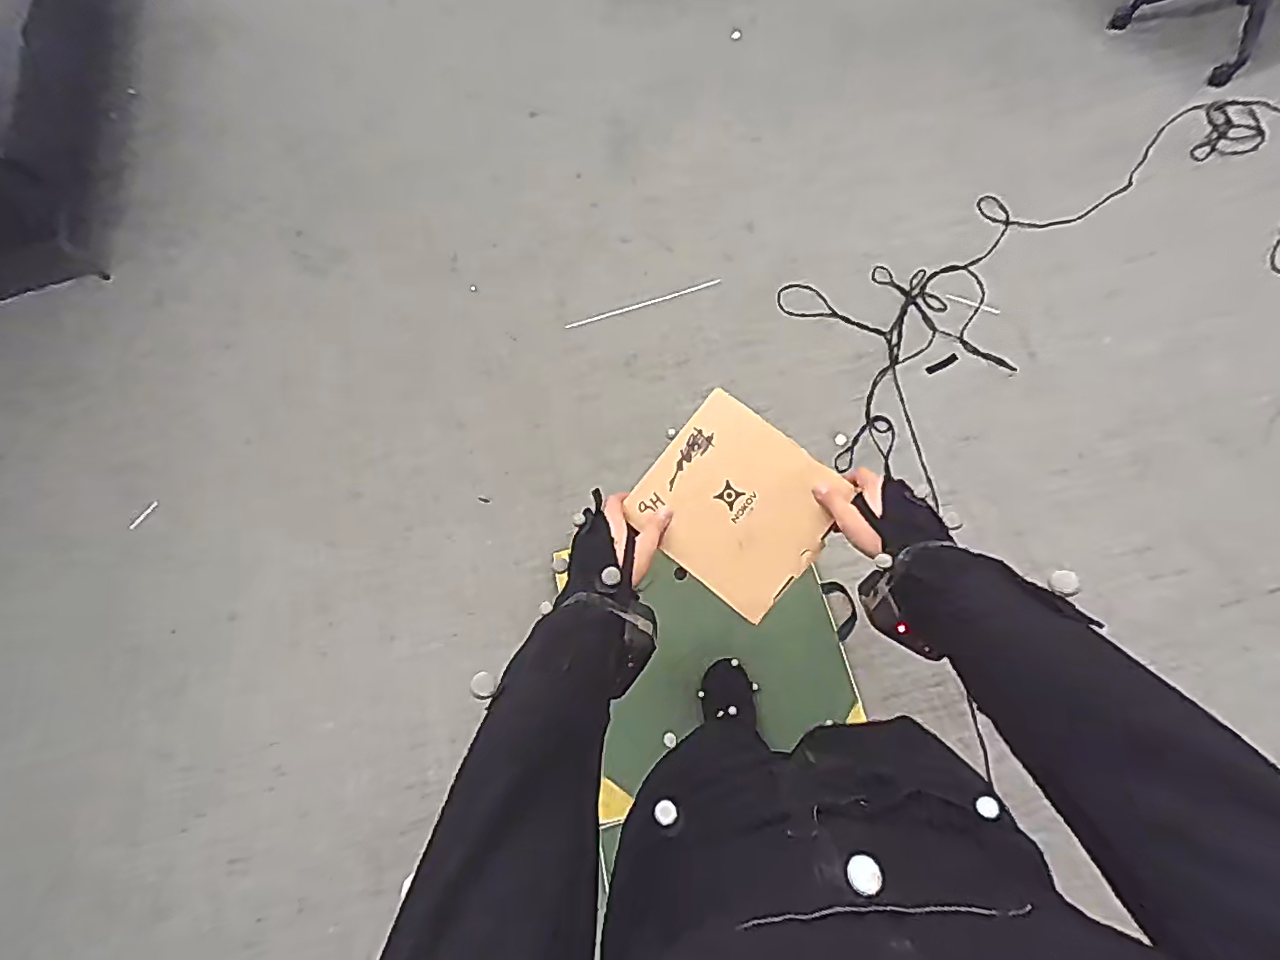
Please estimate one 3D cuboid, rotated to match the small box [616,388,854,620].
[{"bbox_3d":[0.099,0.029,0.608,0.179,0.176,0.168,39,87,9],"label":"small box"}]
